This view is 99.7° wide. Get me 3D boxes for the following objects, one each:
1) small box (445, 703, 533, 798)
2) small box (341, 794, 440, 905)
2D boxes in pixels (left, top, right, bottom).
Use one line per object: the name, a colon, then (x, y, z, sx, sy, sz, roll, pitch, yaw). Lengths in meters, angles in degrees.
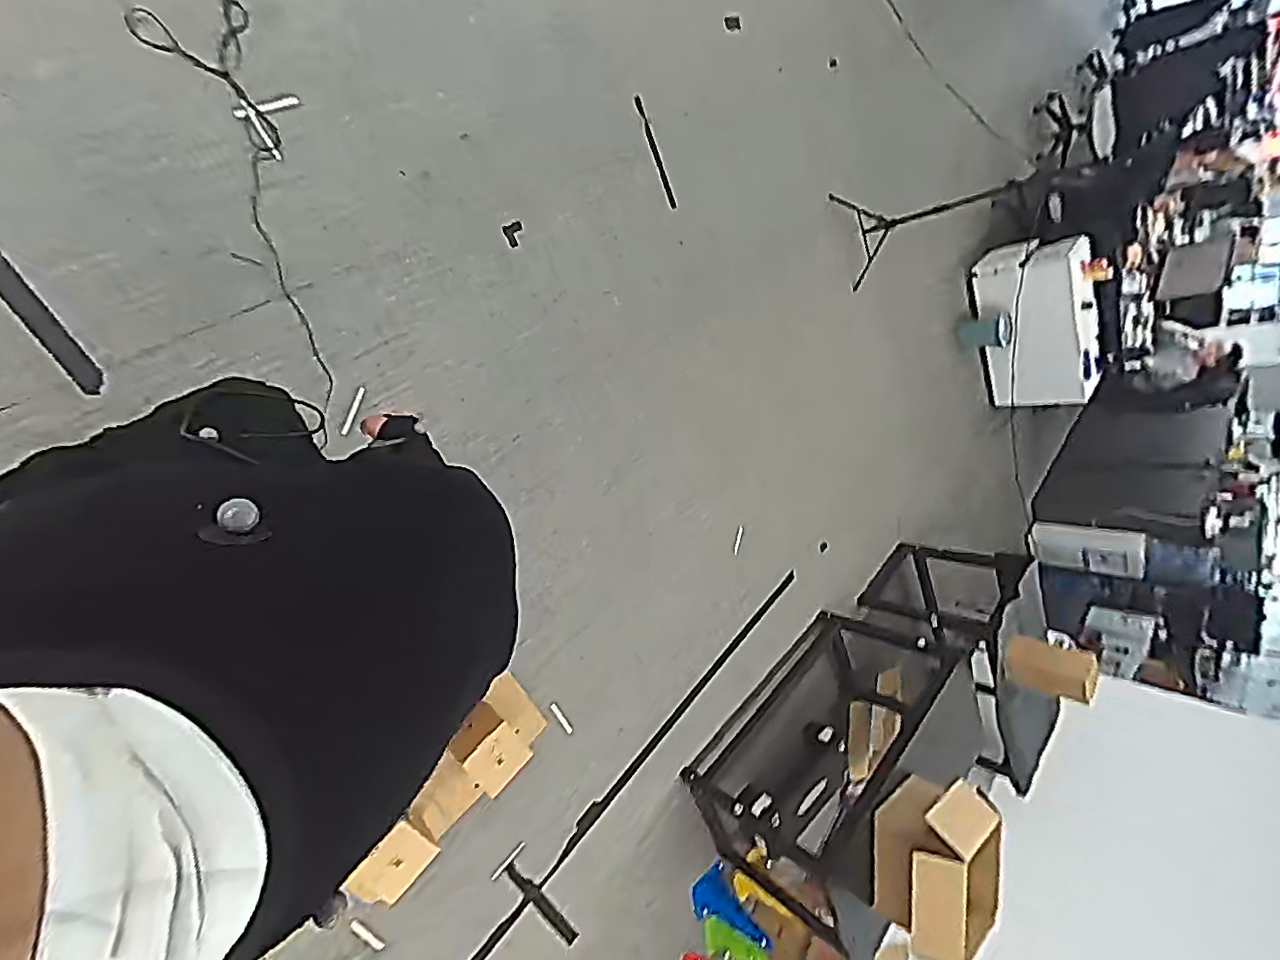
small box: (-0.473, 0.832, 1.683, 0.168, 0.176, 0.179, -42, 117, -29)
small box: (-0.704, 1.029, 1.522, 0.168, 0.176, 0.179, -45, 119, -27)
